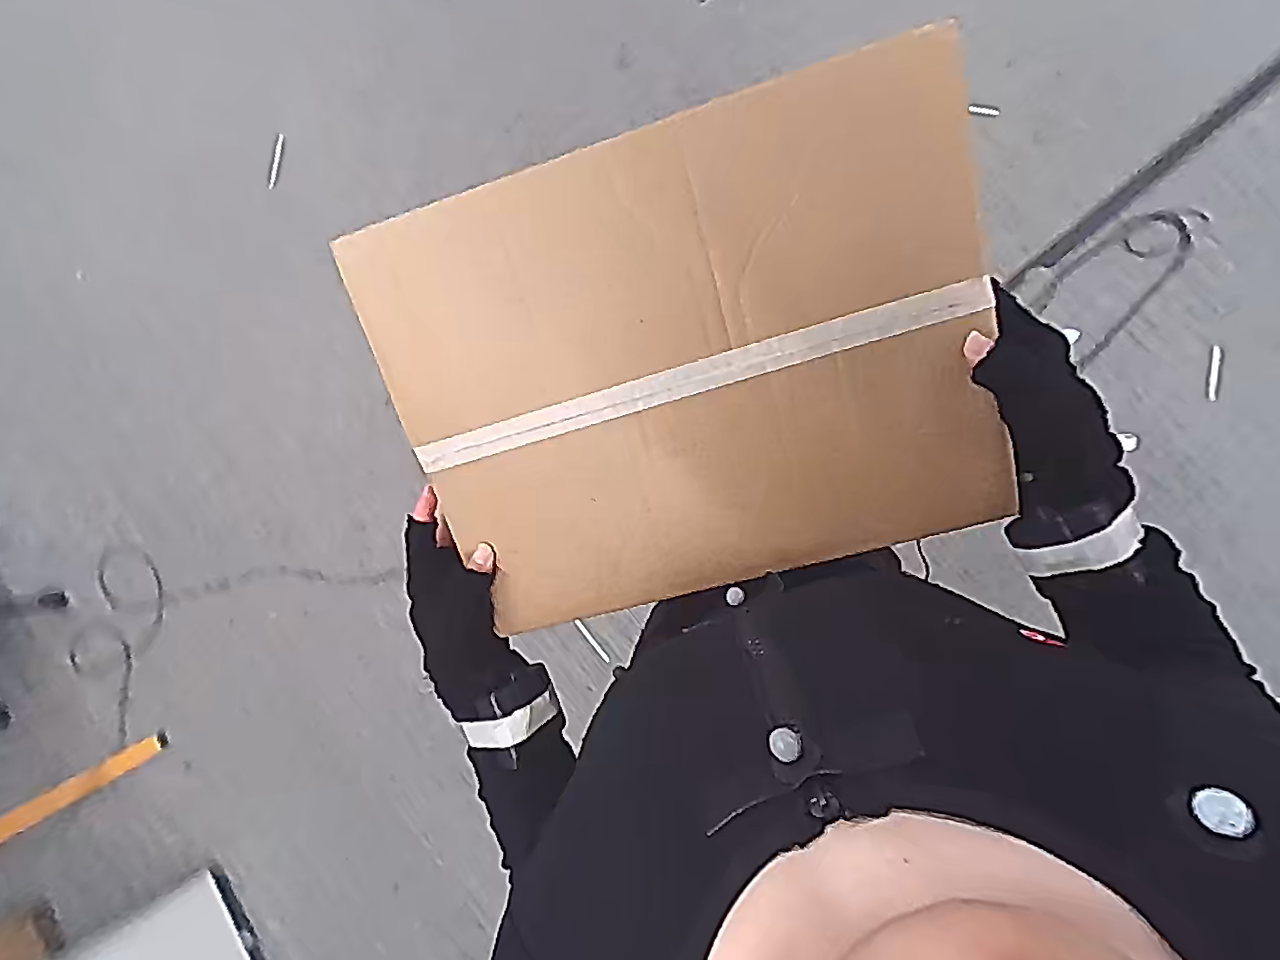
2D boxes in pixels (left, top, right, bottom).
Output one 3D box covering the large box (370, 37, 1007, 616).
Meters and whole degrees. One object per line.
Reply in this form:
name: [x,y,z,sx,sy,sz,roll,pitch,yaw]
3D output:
large box: [0.048,-0.114,0.527,0.408,0.320,0.320,-14,106,8]
